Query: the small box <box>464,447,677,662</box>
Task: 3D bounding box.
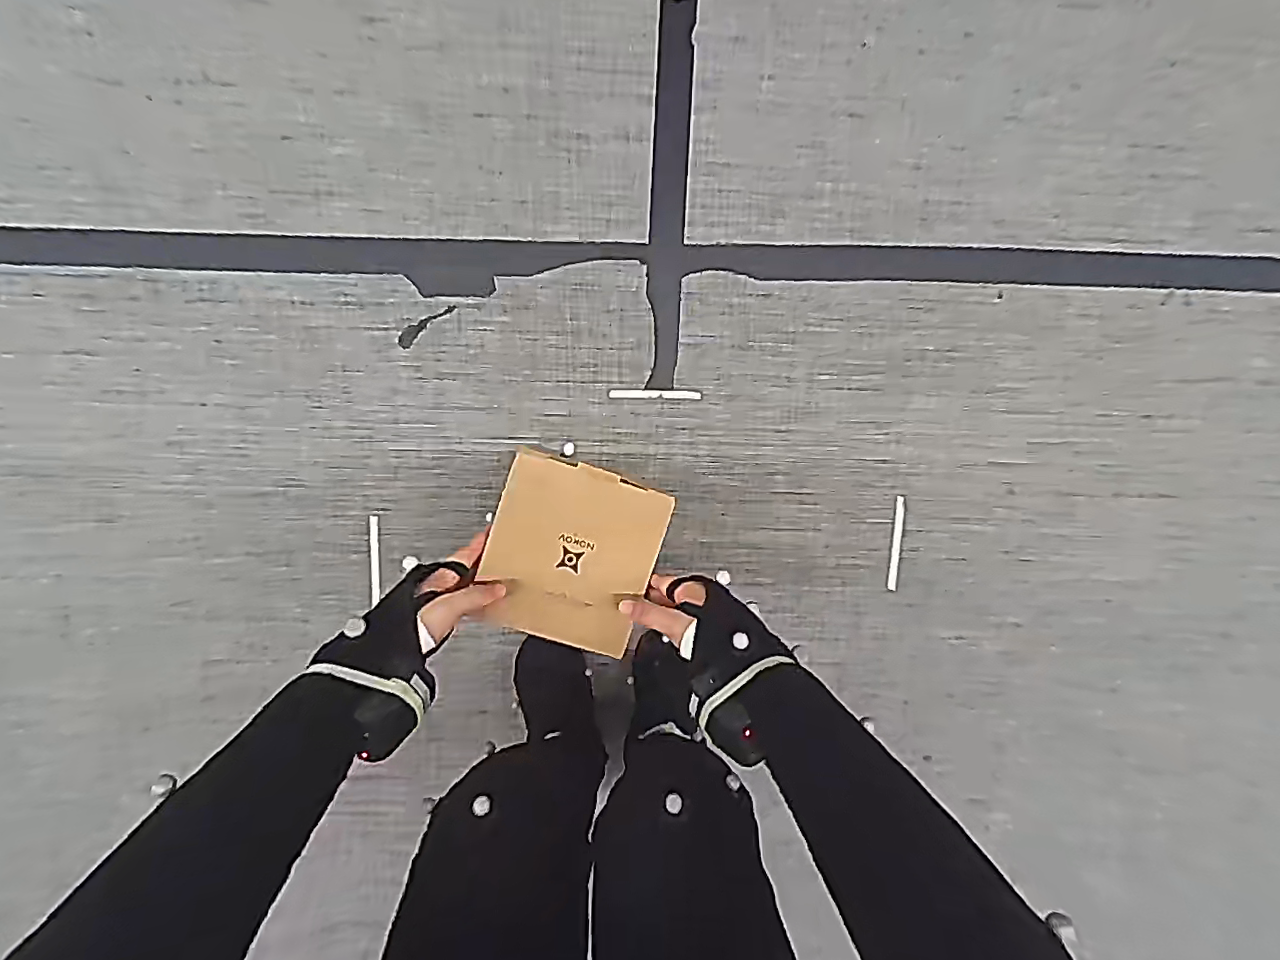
[{"bbox_3d":[-0.076,0.068,0.600,0.168,0.176,0.179,18,93,-7],"label":"small box"}]
